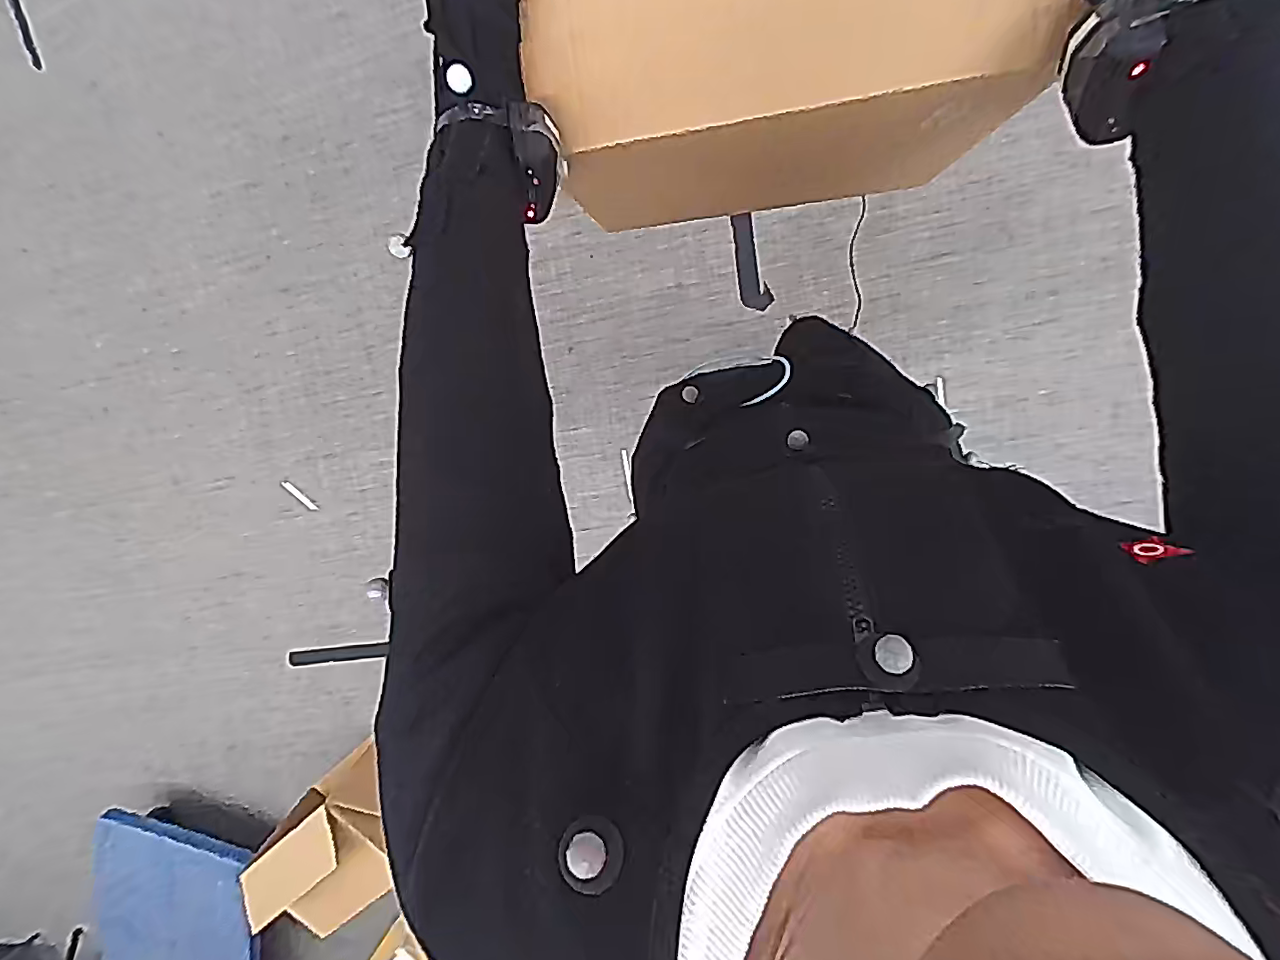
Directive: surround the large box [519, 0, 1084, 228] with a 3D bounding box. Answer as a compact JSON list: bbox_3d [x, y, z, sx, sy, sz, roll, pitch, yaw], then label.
[{"bbox_3d":[0.112,-0.467,0.518,0.408,0.320,0.320,-5,104,9],"label":"large box"}]
